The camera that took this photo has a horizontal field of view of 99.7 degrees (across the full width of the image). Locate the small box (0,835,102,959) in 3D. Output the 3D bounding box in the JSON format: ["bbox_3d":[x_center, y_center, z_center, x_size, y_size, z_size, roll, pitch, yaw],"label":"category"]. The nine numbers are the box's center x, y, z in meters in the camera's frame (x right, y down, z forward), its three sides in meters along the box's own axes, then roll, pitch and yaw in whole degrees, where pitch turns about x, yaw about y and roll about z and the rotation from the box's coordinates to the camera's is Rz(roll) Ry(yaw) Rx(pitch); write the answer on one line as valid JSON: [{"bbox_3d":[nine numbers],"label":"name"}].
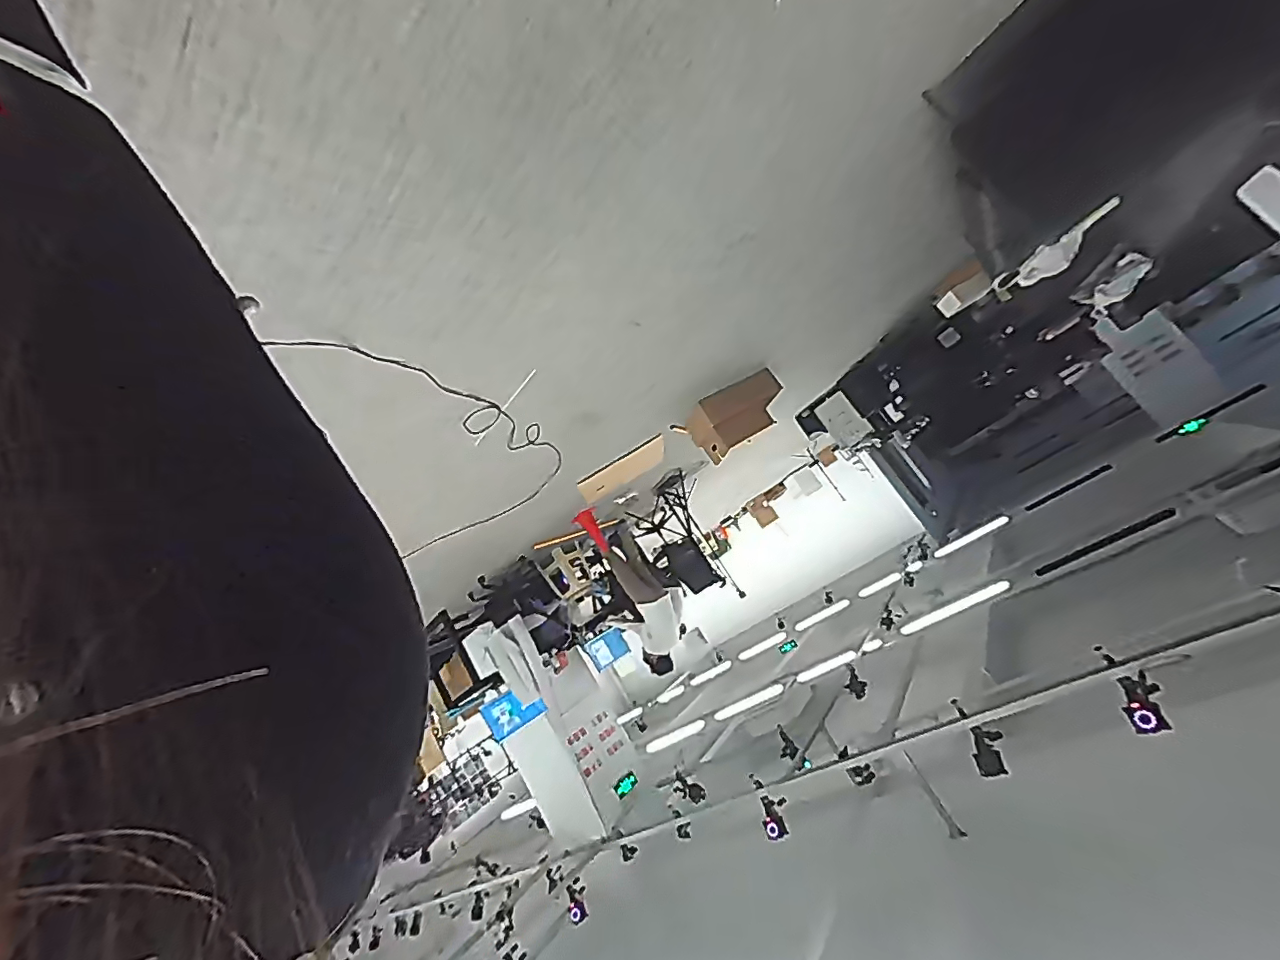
[{"bbox_3d":[-1.373,0.958,1.231,0.168,0.176,0.179,-41,165,35],"label":"small box"}]
